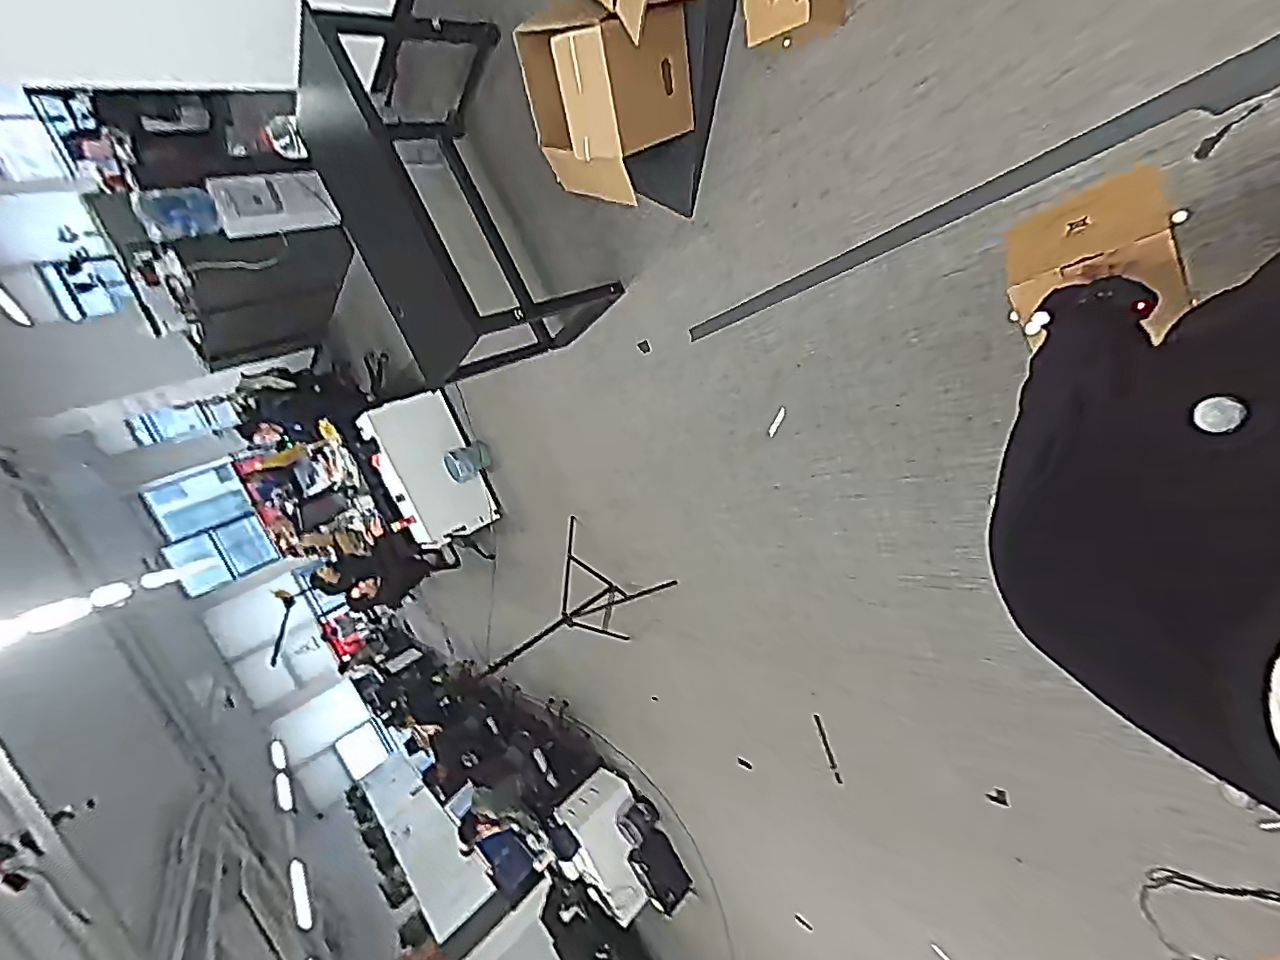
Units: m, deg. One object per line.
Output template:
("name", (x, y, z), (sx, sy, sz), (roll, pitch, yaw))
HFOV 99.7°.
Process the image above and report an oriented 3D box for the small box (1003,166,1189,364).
("small box", (0.634, -0.284, 0.757), (0.168, 0.179, 0.176), (-13, 130, 46))
